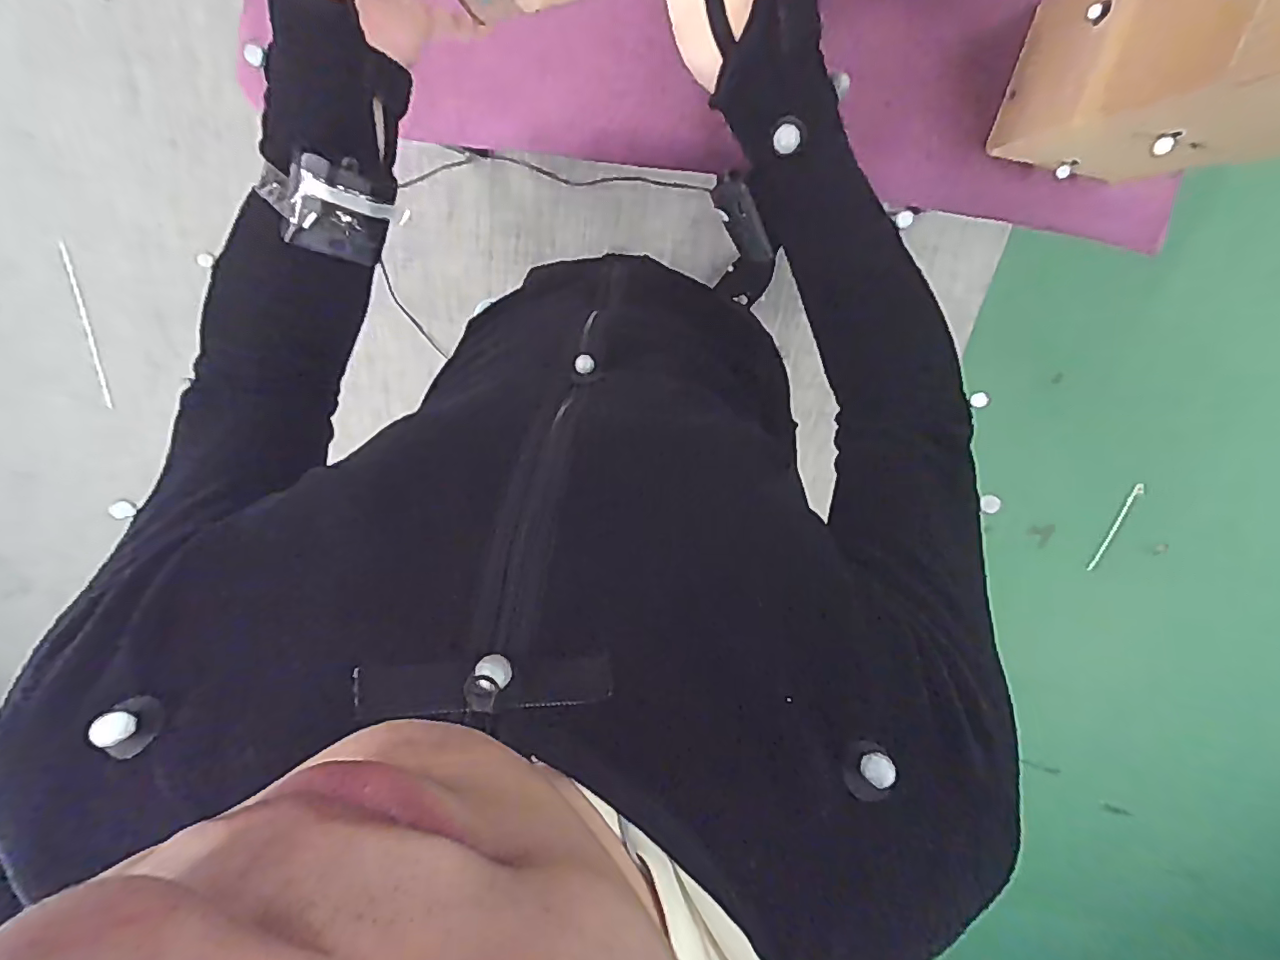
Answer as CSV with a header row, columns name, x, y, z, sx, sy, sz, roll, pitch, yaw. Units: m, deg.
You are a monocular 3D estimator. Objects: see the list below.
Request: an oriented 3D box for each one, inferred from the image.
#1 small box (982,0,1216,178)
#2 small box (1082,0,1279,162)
name,x,y,z,sx,sy,sz,roll,pitch,yaw
small box,0.535,-0.449,0.601,0.179,0.176,0.168,11,112,-1
small box,0.530,-0.389,0.448,0.168,0.176,0.179,12,113,0
